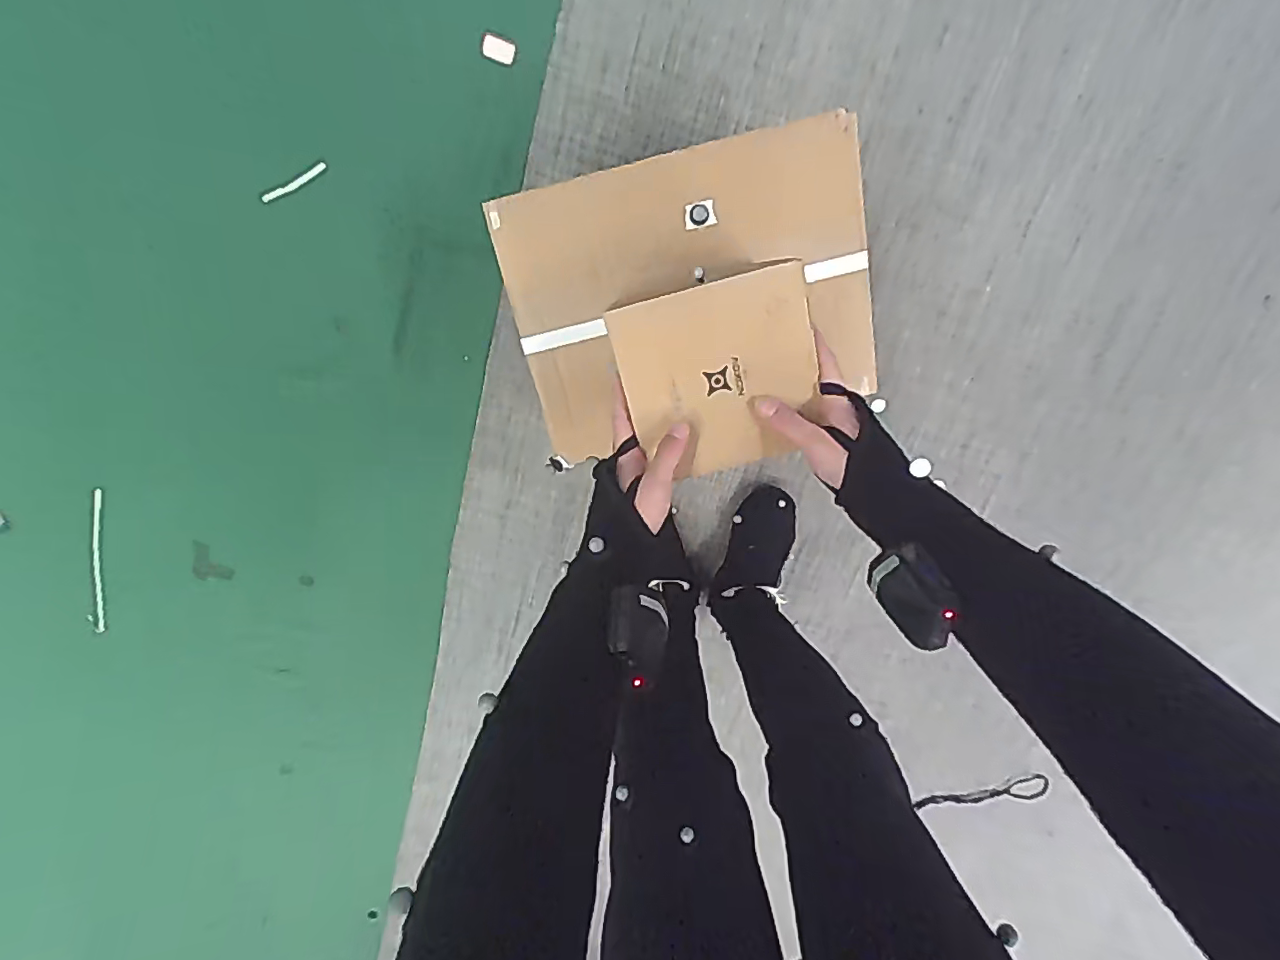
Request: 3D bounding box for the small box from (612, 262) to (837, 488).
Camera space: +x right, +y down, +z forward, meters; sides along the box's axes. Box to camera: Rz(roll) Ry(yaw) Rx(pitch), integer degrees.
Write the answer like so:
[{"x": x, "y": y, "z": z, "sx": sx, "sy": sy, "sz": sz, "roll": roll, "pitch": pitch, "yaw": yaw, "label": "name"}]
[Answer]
[{"x": 0.075, "y": -0.113, "z": 0.543, "sx": 0.179, "sy": 0.176, "sz": 0.168, "roll": -14, "pitch": 110, "yaw": 4, "label": "small box"}]
